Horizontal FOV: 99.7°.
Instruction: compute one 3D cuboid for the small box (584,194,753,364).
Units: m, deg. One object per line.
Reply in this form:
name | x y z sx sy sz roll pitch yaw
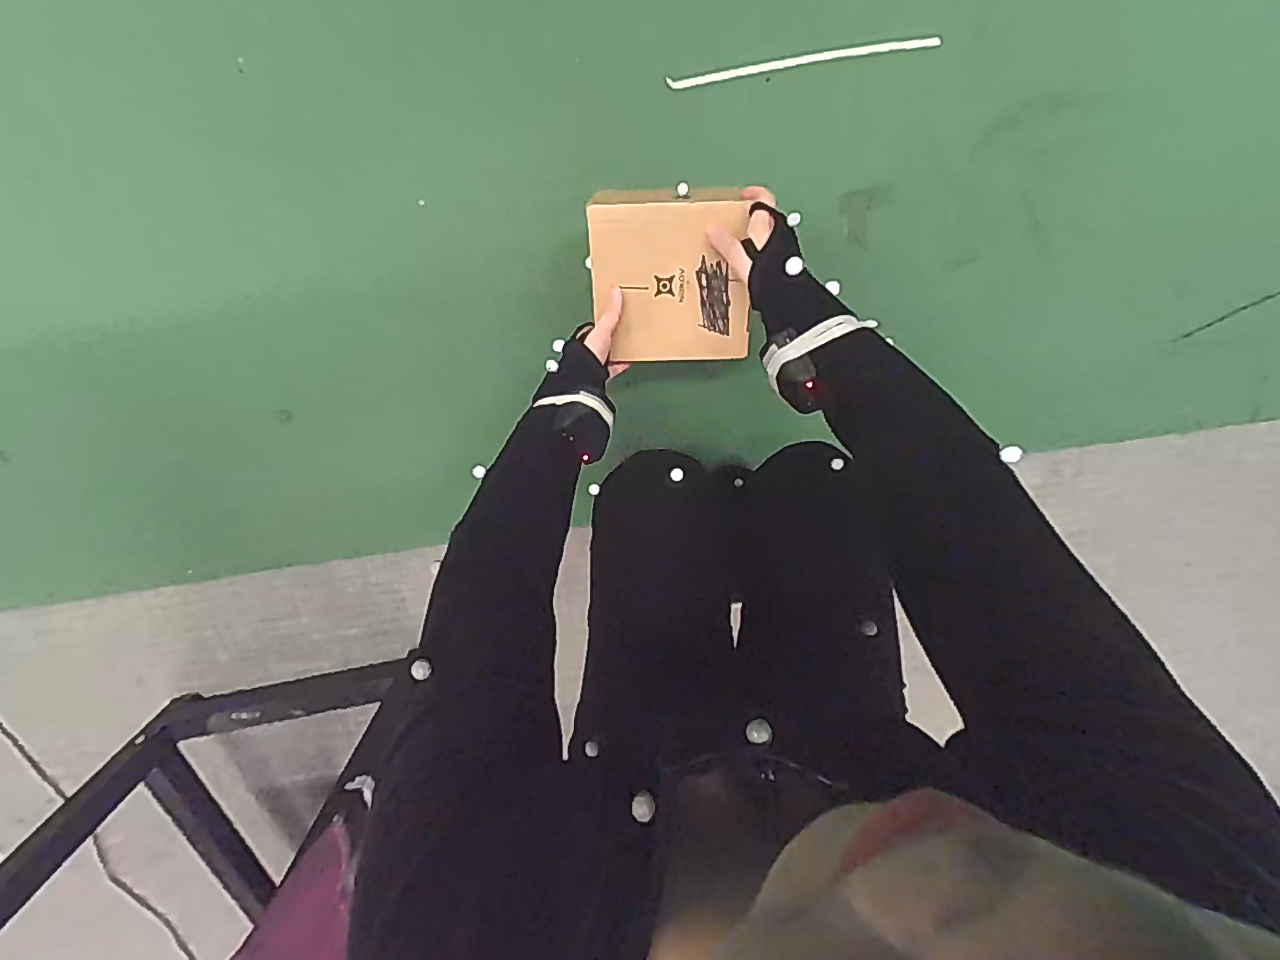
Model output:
small box | 0.031 -0.249 0.659 0.179 0.176 0.168 0 122 2
